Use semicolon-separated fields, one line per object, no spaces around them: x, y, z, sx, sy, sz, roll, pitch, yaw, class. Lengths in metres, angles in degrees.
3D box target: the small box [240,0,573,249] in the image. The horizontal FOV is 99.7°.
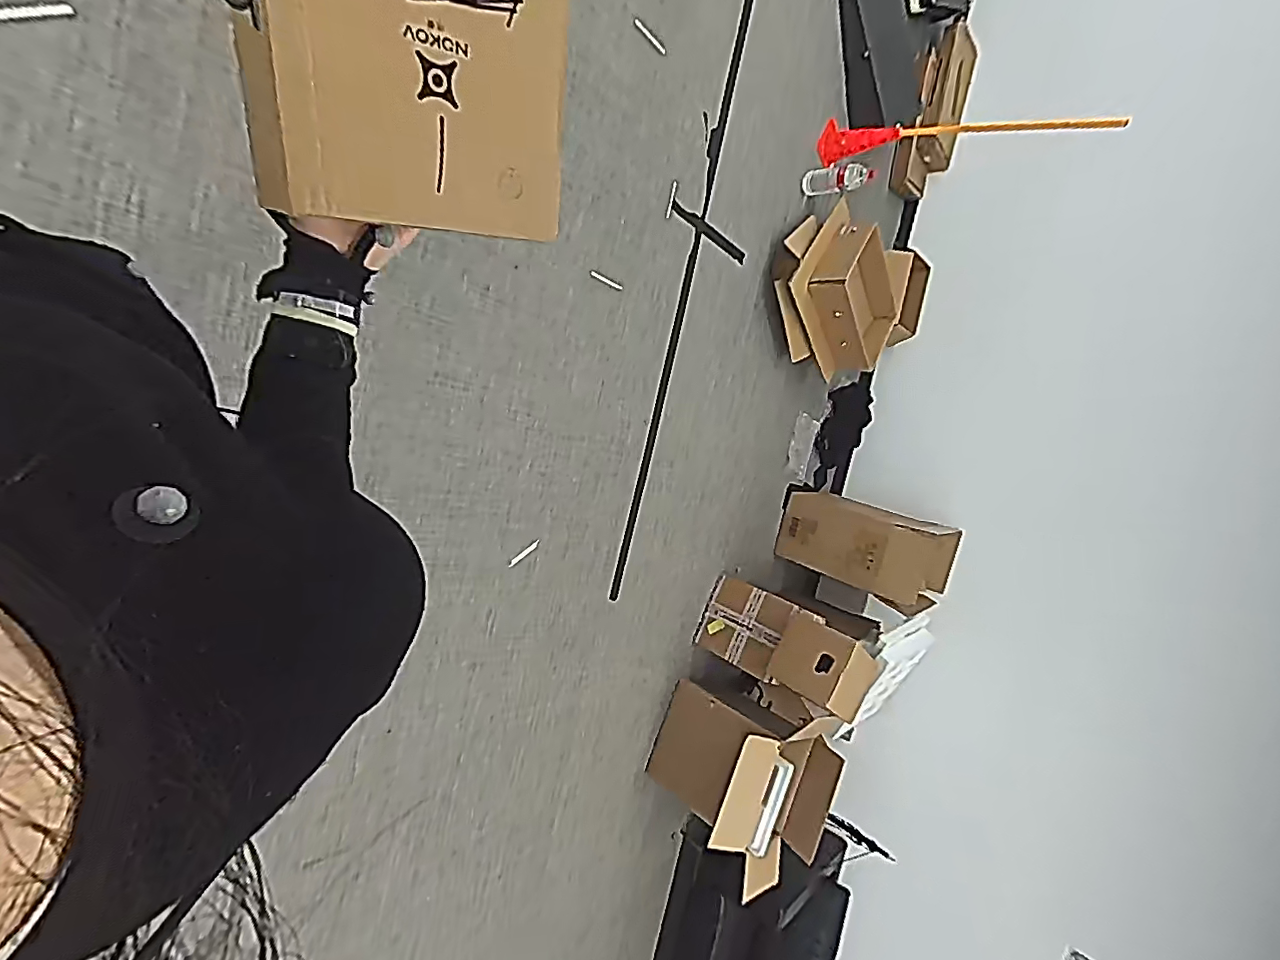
-0.163;-0.266;0.374;0.168;0.176;0.179;-12;119;-36;small box
